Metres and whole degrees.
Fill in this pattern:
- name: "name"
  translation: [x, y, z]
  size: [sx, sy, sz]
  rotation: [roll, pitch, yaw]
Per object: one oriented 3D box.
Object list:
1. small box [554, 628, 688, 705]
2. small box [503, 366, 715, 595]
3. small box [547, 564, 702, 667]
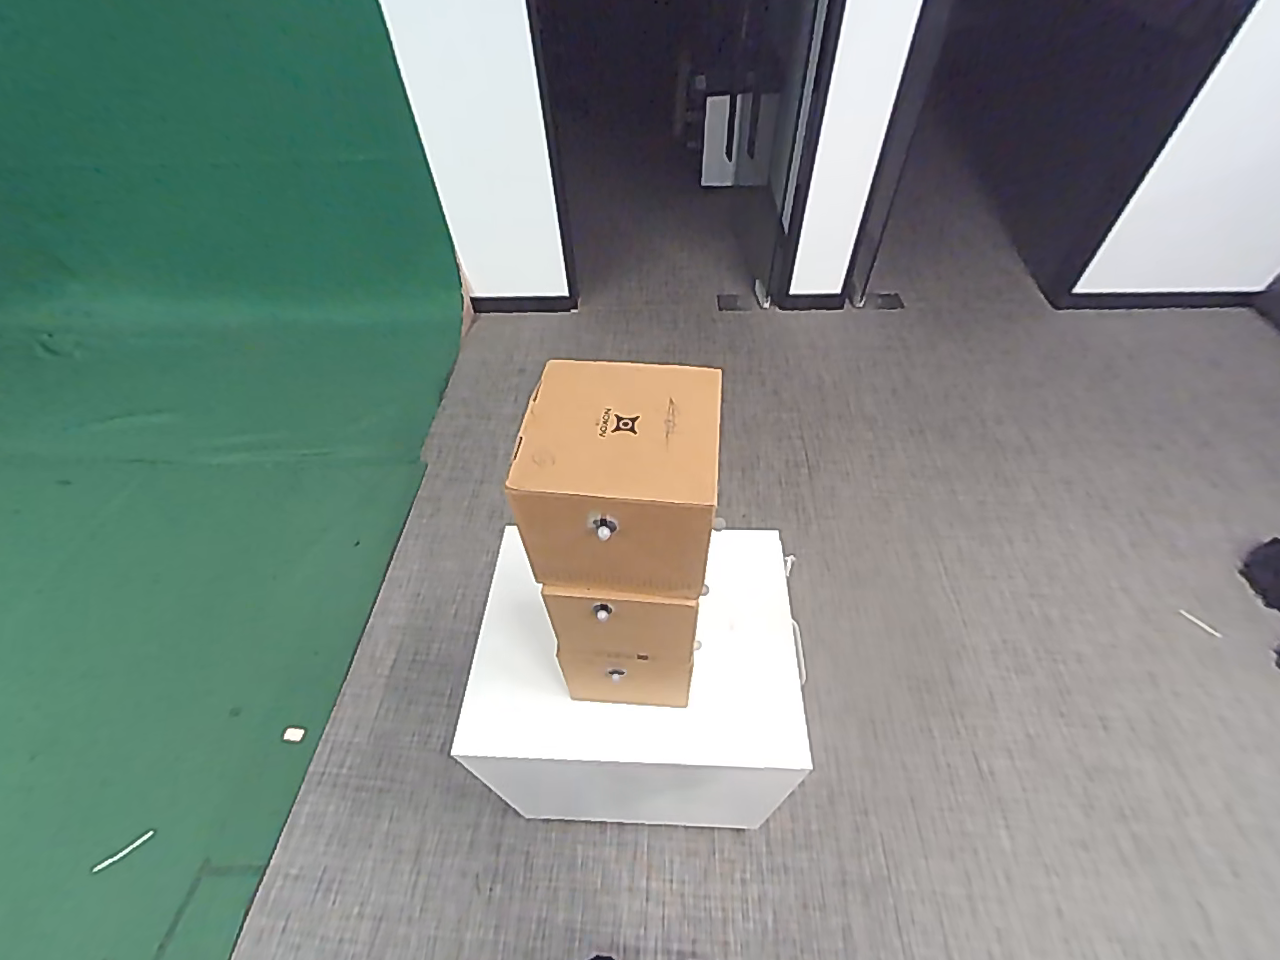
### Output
- name: "small box"
  translation: [-0.016, 0.220, 0.798]
  size: [0.179, 0.176, 0.168]
  rotation: [3, 50, 4]
- name: "small box"
  translation: [-0.019, 0.004, 0.555]
  size: [0.179, 0.176, 0.168]
  rotation: [5, 52, 5]
- name: "small box"
  translation: [-0.013, 0.114, 0.678]
  size: [0.168, 0.176, 0.179]
  rotation: [2, 50, 2]
